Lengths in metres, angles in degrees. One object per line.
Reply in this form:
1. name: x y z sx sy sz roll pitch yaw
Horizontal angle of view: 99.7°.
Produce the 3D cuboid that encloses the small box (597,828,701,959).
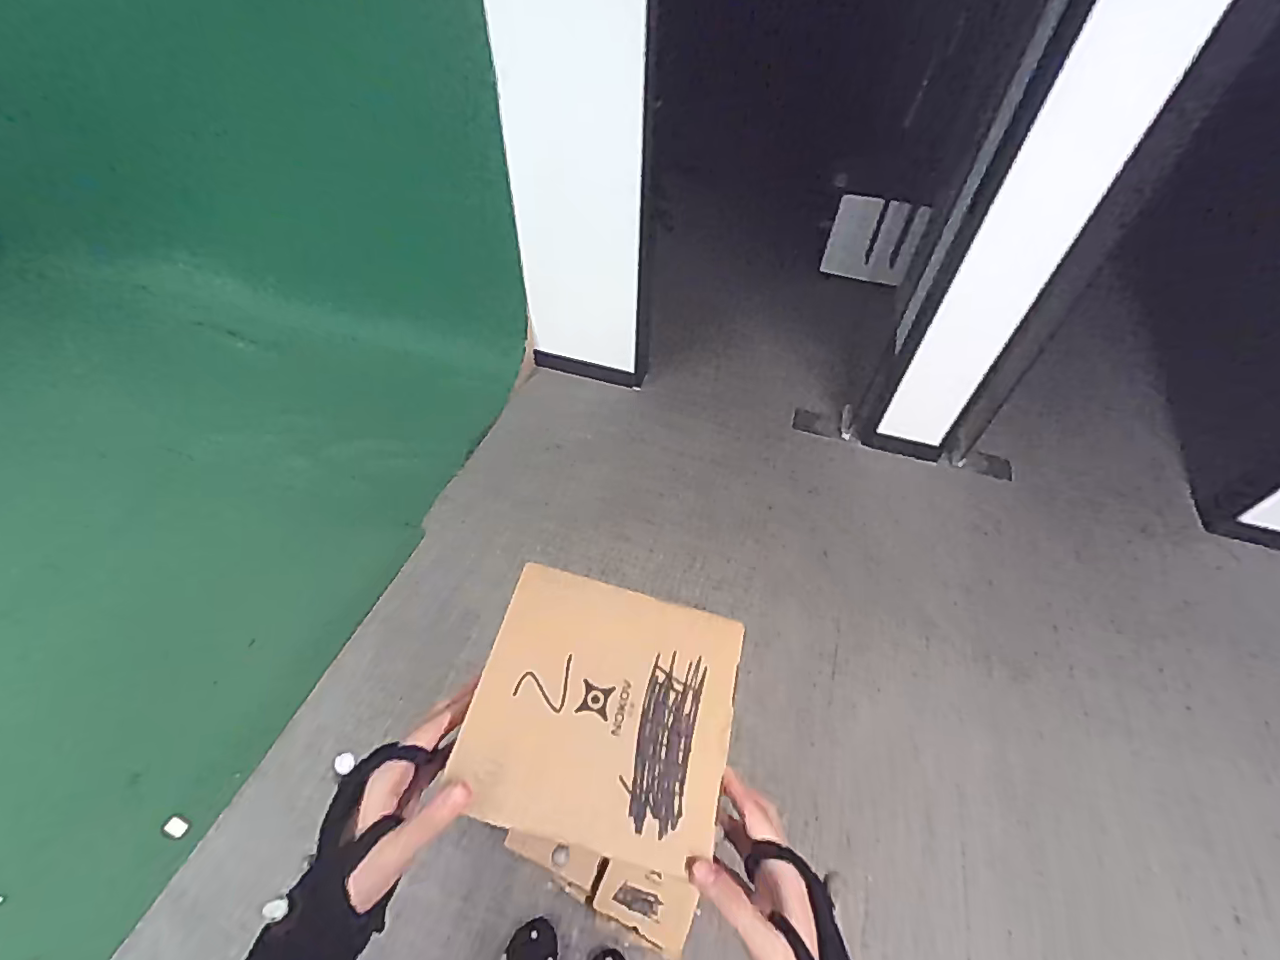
1. small box: 0.018 0.865 1.130 0.168 0.176 0.179 17 52 12
